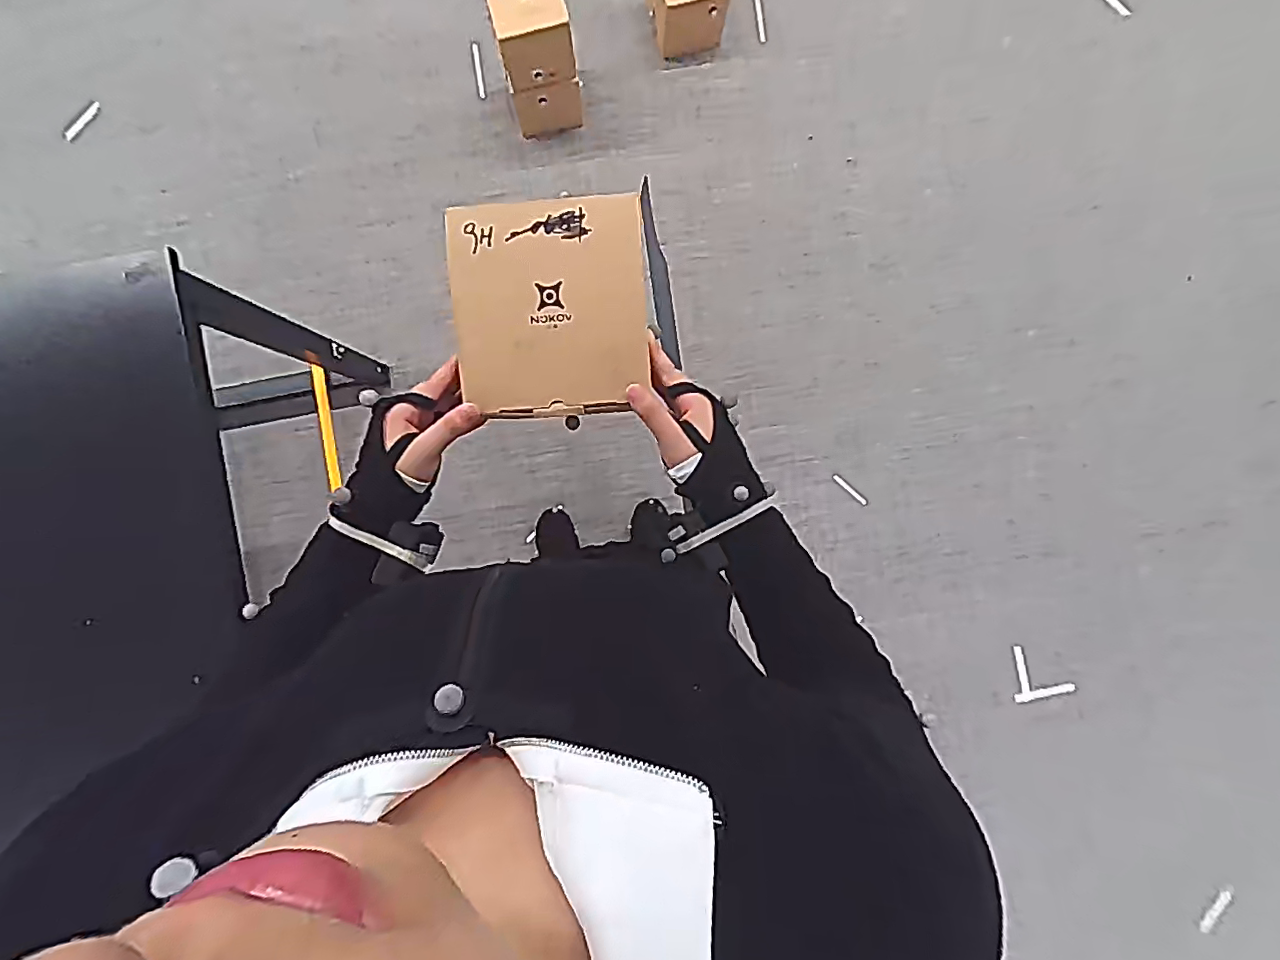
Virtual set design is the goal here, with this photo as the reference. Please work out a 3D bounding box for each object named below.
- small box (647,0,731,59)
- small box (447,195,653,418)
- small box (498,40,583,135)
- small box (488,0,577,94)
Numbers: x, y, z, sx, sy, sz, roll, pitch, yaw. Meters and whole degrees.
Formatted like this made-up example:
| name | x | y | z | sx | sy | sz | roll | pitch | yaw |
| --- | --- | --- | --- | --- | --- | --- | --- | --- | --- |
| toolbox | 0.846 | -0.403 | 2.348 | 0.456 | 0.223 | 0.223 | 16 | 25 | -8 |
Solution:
| name | x | y | z | sx | sy | sz | roll | pitch | yaw |
| --- | --- | --- | --- | --- | --- | --- | --- | --- | --- |
| small box | 0.125 | -1.273 | 1.434 | 0.179 | 0.176 | 0.168 | -15 | 90 | -2 |
| small box | -0.073 | -0.156 | 0.537 | 0.168 | 0.176 | 0.179 | -4 | 97 | 1 |
| small box | -0.254 | -1.045 | 1.421 | 0.179 | 0.176 | 0.168 | -12 | 90 | -2 |
| small box | -0.252 | -1.057 | 1.259 | 0.168 | 0.176 | 0.179 | -16 | 91 | 0 |
